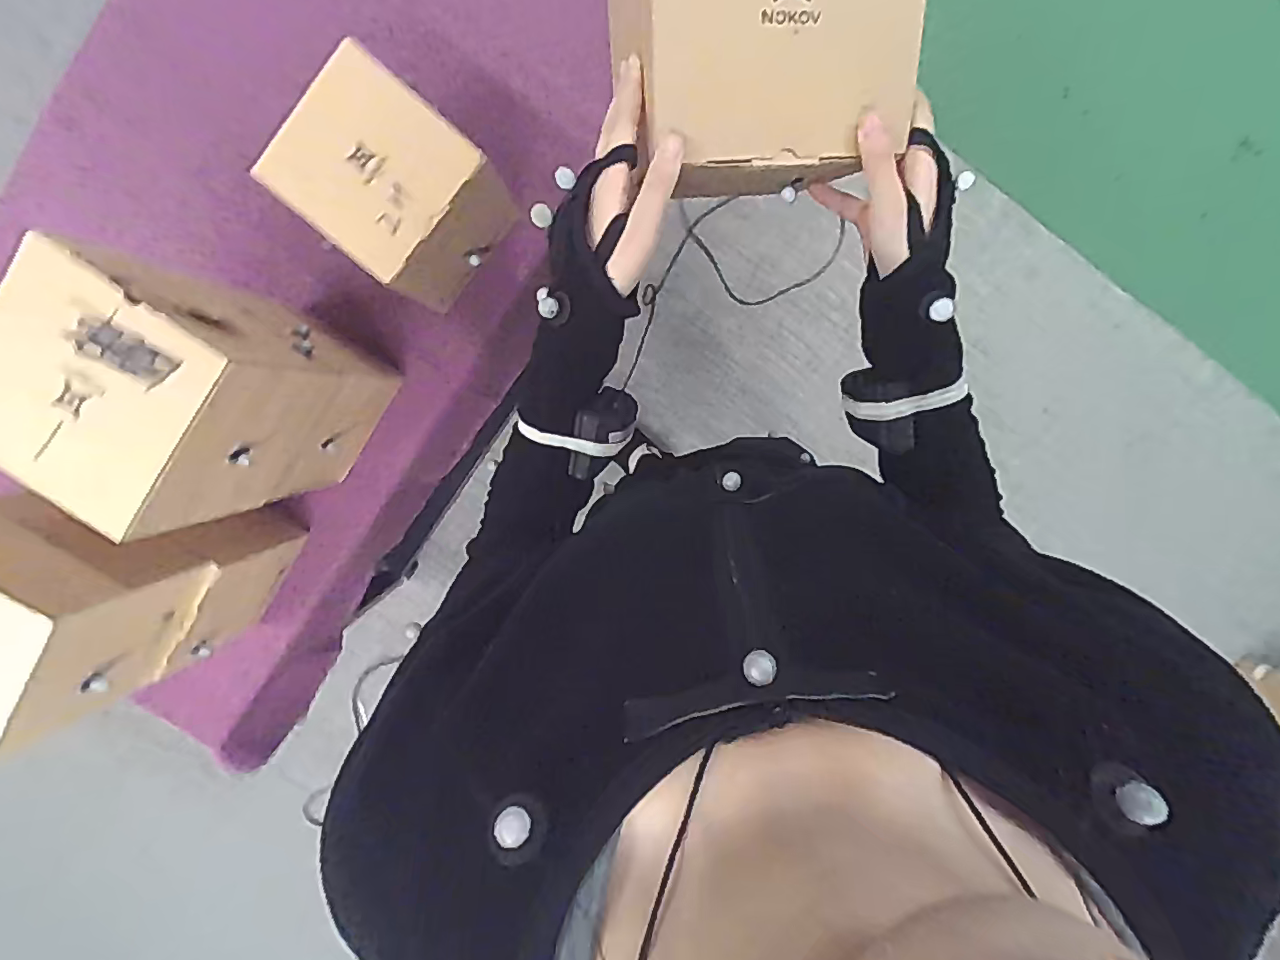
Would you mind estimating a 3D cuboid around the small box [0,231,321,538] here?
[{"bbox_3d":[-0.432,-0.079,0.488,0.168,0.176,0.179,35,97,-4],"label":"small box"}]

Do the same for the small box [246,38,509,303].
[{"bbox_3d":[-0.281,-0.329,0.622,0.179,0.176,0.168,40,96,-5],"label":"small box"}]

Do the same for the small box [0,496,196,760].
[{"bbox_3d":[-0.590,0.125,0.516,0.179,0.176,0.168,31,96,-3],"label":"small box"}]

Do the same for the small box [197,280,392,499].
[{"bbox_3d":[-0.438,-0.102,0.652,0.168,0.176,0.179,34,96,-4],"label":"small box"}]
